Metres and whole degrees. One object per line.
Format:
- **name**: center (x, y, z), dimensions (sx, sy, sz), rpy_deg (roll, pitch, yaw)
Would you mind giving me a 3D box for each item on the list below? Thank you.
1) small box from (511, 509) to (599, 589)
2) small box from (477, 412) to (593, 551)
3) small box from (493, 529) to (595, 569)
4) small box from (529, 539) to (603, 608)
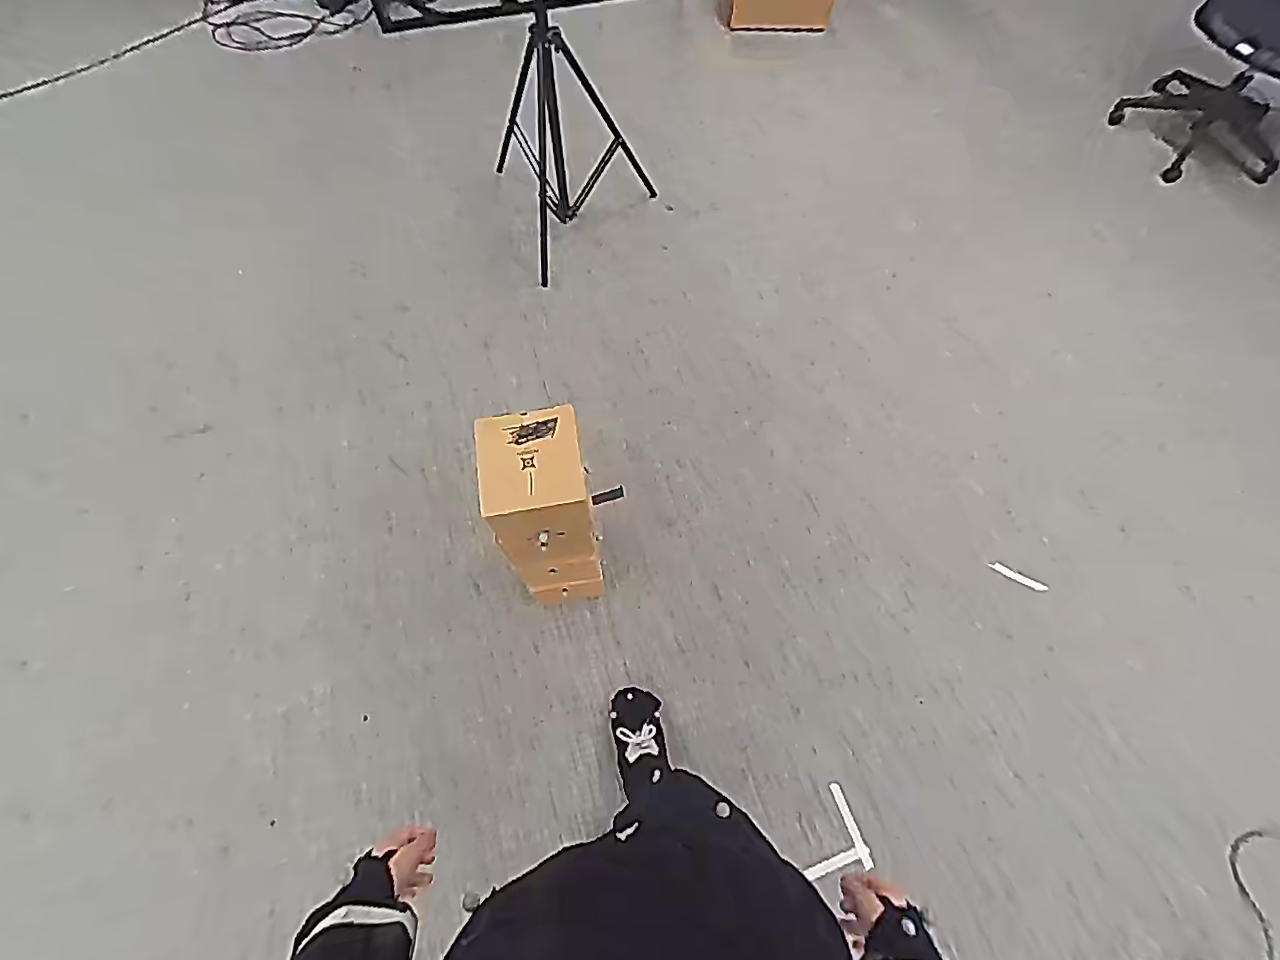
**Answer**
- **small box**: center (-0.191, 0.146, 1.233), dimensions (0.179, 0.176, 0.168), rpy_deg (-6, 67, -3)
- **small box**: center (-0.177, 0.008, 0.937), dimensions (0.168, 0.176, 0.179), rpy_deg (-9, 68, -4)
- **small box**: center (-0.192, 0.073, 1.088), dimensions (0.179, 0.176, 0.168), rpy_deg (-9, 68, -5)
- **small box**: center (-0.190, 0.220, 1.380), dimensions (0.179, 0.176, 0.168), rpy_deg (-9, 67, -5)
